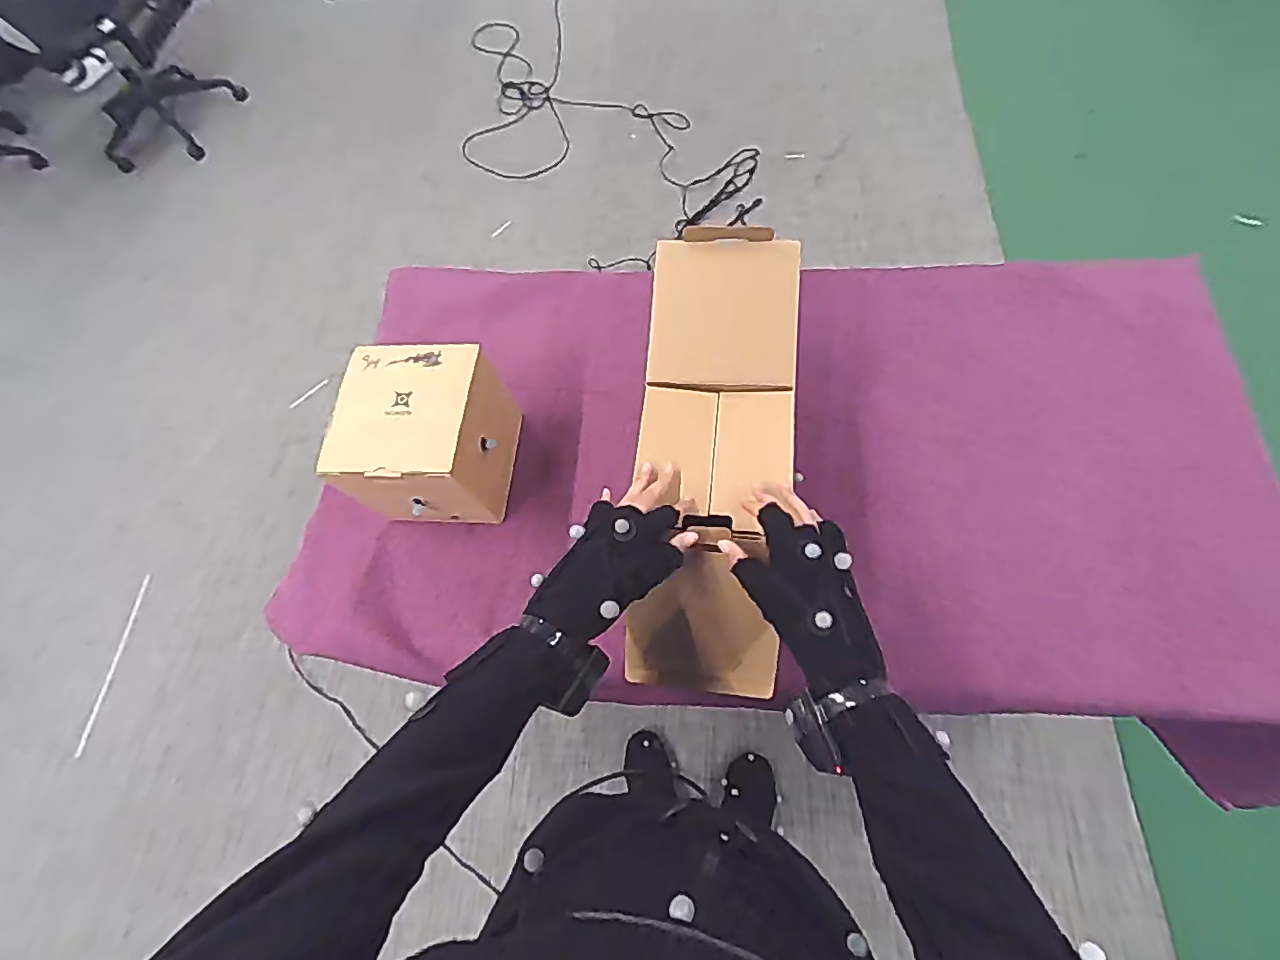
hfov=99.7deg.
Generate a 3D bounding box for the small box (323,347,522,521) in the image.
[{"bbox_3d":[-0.265,-0.052,0.705,0.168,0.176,0.179,1,68,8],"label":"small box"}]
